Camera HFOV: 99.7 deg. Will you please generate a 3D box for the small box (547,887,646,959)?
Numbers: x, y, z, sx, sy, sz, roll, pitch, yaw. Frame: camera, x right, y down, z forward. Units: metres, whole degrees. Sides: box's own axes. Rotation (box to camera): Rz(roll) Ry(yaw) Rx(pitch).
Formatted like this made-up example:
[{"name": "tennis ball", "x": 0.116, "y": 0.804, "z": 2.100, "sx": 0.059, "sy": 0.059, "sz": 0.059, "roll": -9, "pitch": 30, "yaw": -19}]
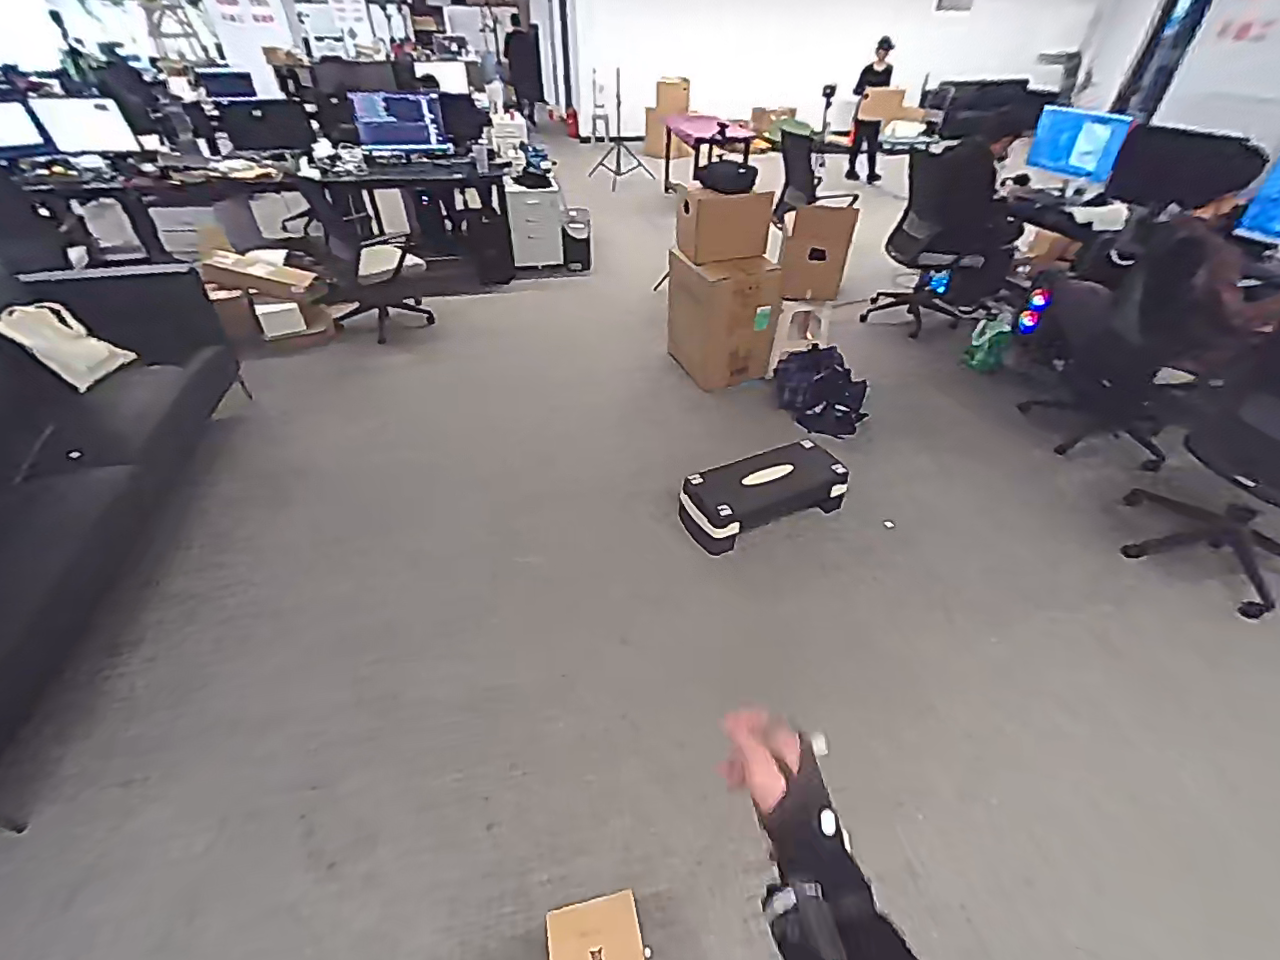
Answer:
[{"name": "small box", "x": -0.072, "y": 0.894, "z": 0.992, "sx": 0.168, "sy": 0.176, "sz": 0.179, "roll": -8, "pitch": 40, "yaw": -12}]
